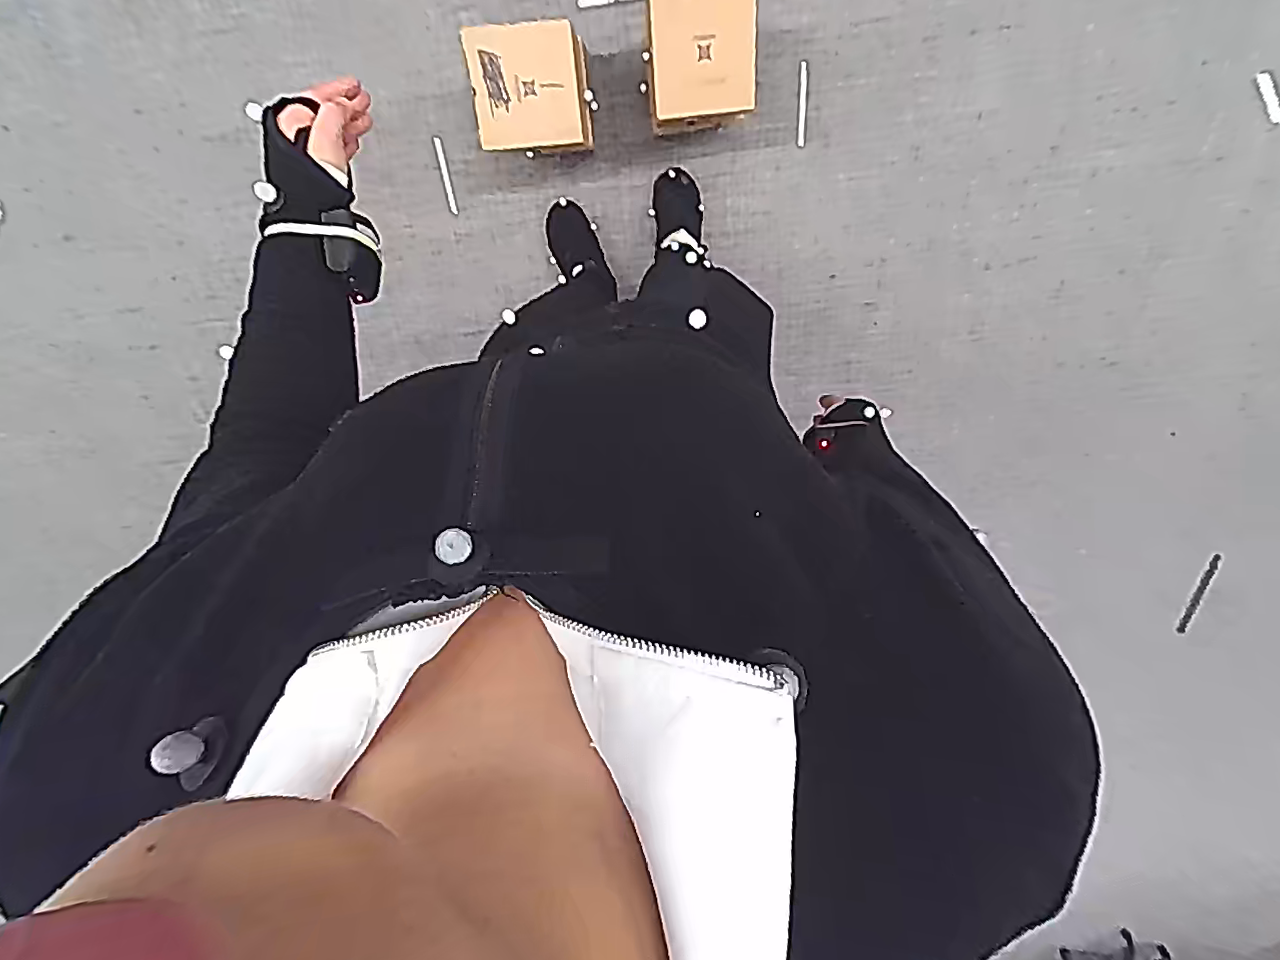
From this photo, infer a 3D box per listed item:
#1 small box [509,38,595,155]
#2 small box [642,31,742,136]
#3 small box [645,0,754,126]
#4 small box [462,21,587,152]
[{"bbox_3d":[-0.185,-0.766,1.093,0.168,0.176,0.179,-4,121,1],"label":"small box"},{"bbox_3d":[0.101,-0.798,1.081,0.179,0.176,0.168,-7,120,3],"label":"small box"},{"bbox_3d":[0.098,-0.727,0.934,0.168,0.176,0.179,-5,121,2],"label":"small box"},{"bbox_3d":[-0.192,-0.680,0.951,0.179,0.176,0.168,-3,120,0],"label":"small box"}]
